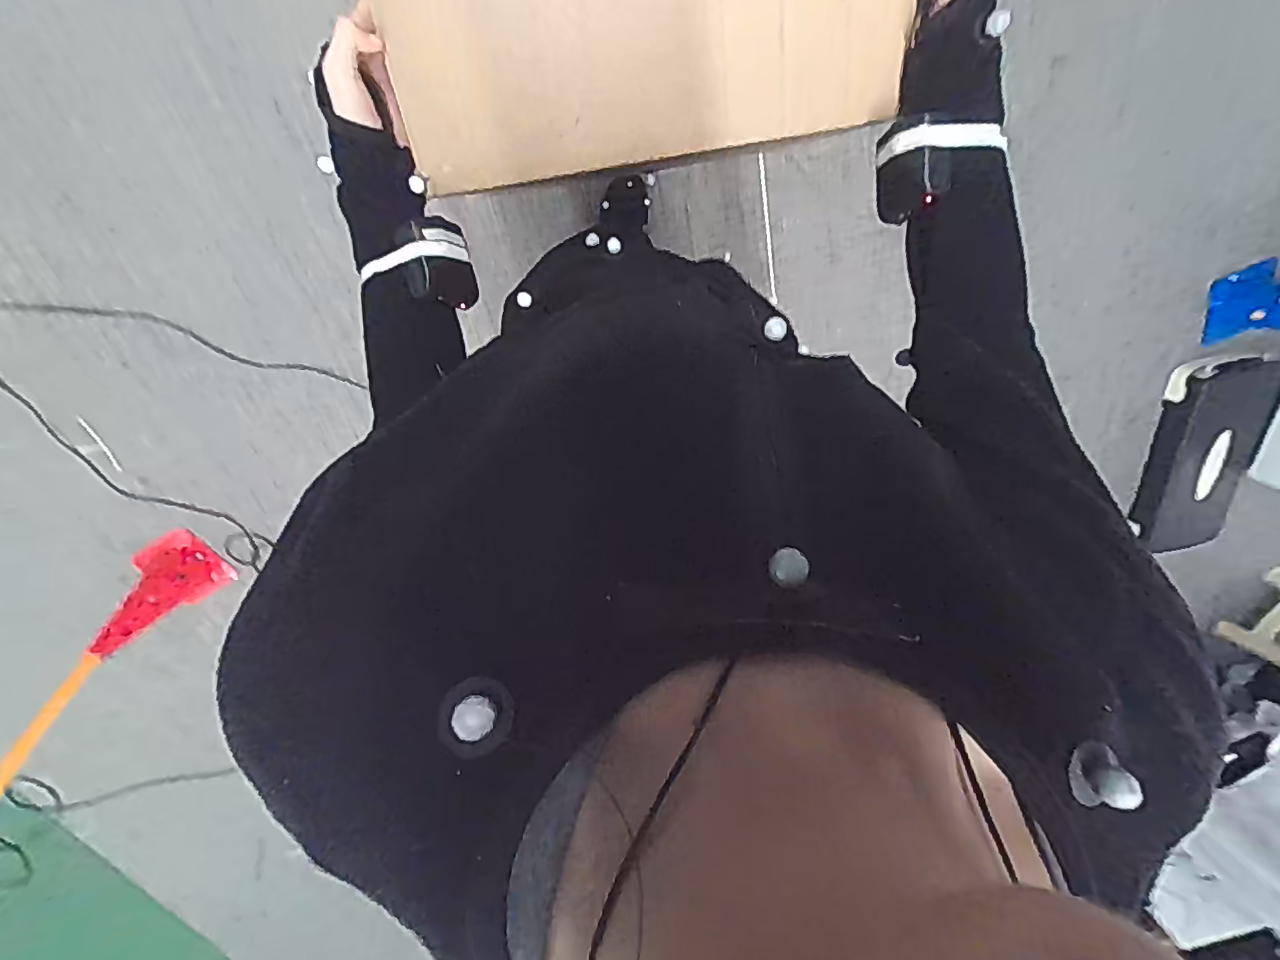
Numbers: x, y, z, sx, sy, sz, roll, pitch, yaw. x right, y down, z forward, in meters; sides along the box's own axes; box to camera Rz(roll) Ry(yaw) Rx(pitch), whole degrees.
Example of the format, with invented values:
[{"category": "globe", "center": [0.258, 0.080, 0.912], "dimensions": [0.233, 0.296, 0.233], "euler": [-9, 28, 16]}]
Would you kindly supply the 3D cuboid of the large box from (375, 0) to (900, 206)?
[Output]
[{"category": "large box", "center": [-0.013, -0.475, 0.522], "dimensions": [0.408, 0.320, 0.320], "euler": [-10, 117, 2]}]
